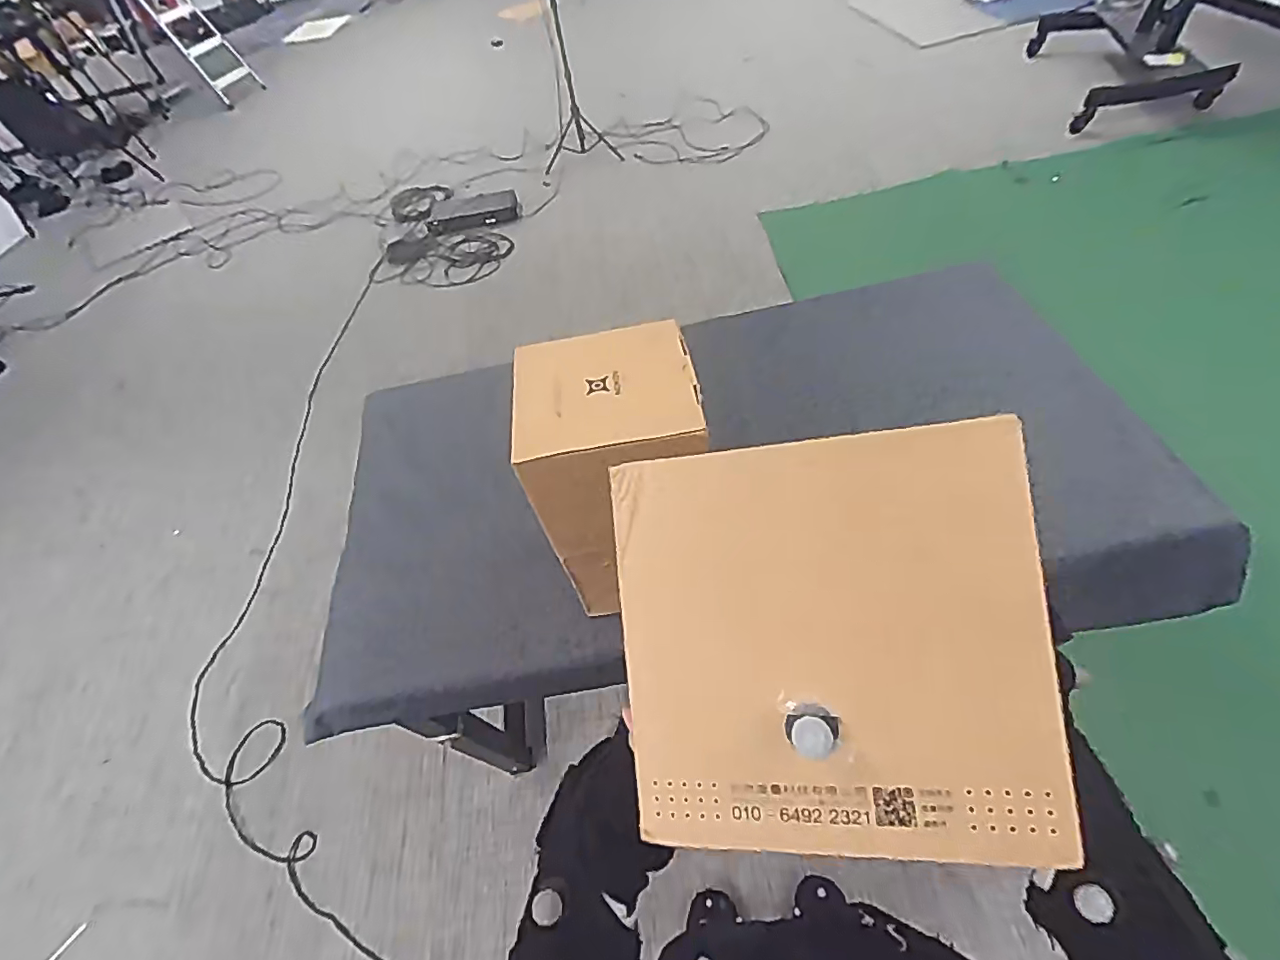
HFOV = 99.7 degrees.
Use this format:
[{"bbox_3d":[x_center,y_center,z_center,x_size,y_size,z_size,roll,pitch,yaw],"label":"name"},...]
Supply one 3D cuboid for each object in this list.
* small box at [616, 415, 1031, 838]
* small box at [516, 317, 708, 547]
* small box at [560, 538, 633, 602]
[{"bbox_3d":[0.092,0.066,0.313,0.168,0.179,0.176,-6,87,15],"label":"small box"},{"bbox_3d":[-0.023,-0.046,0.591,0.179,0.176,0.168,-11,51,3],"label":"small box"},{"bbox_3d":[-0.002,0.047,0.722,0.179,0.176,0.168,-10,53,3],"label":"small box"}]
